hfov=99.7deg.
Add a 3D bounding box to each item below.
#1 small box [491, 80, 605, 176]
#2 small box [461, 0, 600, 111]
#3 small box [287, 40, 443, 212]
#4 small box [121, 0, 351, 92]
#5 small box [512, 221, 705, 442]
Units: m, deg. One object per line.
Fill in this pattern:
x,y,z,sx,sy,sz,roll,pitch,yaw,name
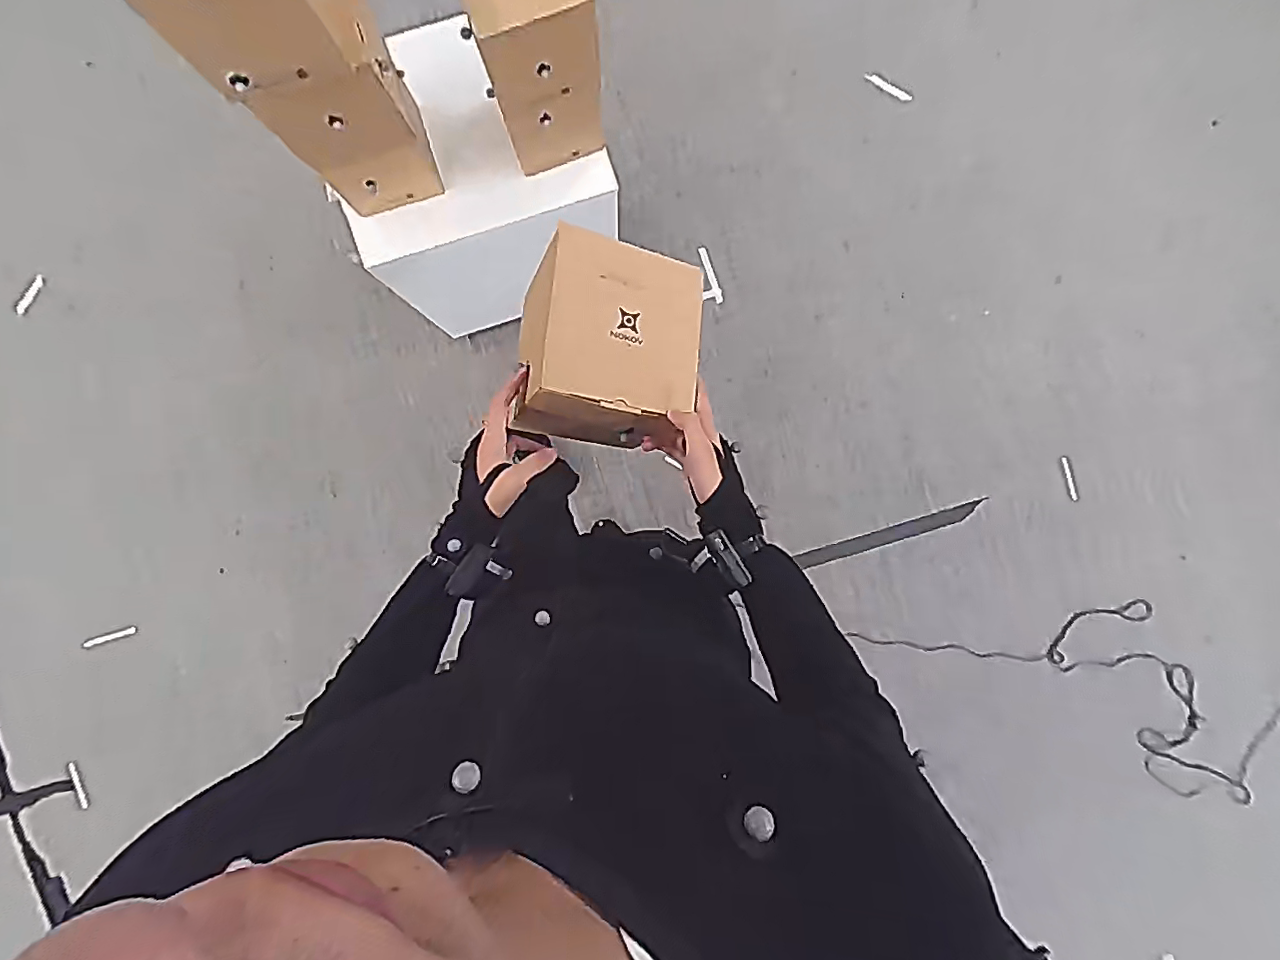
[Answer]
-0.166,-0.676,0.939,0.168,0.176,0.179,-20,91,0,small box
-0.162,-0.672,0.774,0.168,0.176,0.179,-20,92,0,small box
-0.463,-0.591,0.933,0.168,0.176,0.179,-18,91,-2,small box
-0.457,-0.577,0.604,0.168,0.176,0.179,-14,91,-1,small box
-0.044,-0.148,0.617,0.168,0.176,0.179,9,80,-23,small box
